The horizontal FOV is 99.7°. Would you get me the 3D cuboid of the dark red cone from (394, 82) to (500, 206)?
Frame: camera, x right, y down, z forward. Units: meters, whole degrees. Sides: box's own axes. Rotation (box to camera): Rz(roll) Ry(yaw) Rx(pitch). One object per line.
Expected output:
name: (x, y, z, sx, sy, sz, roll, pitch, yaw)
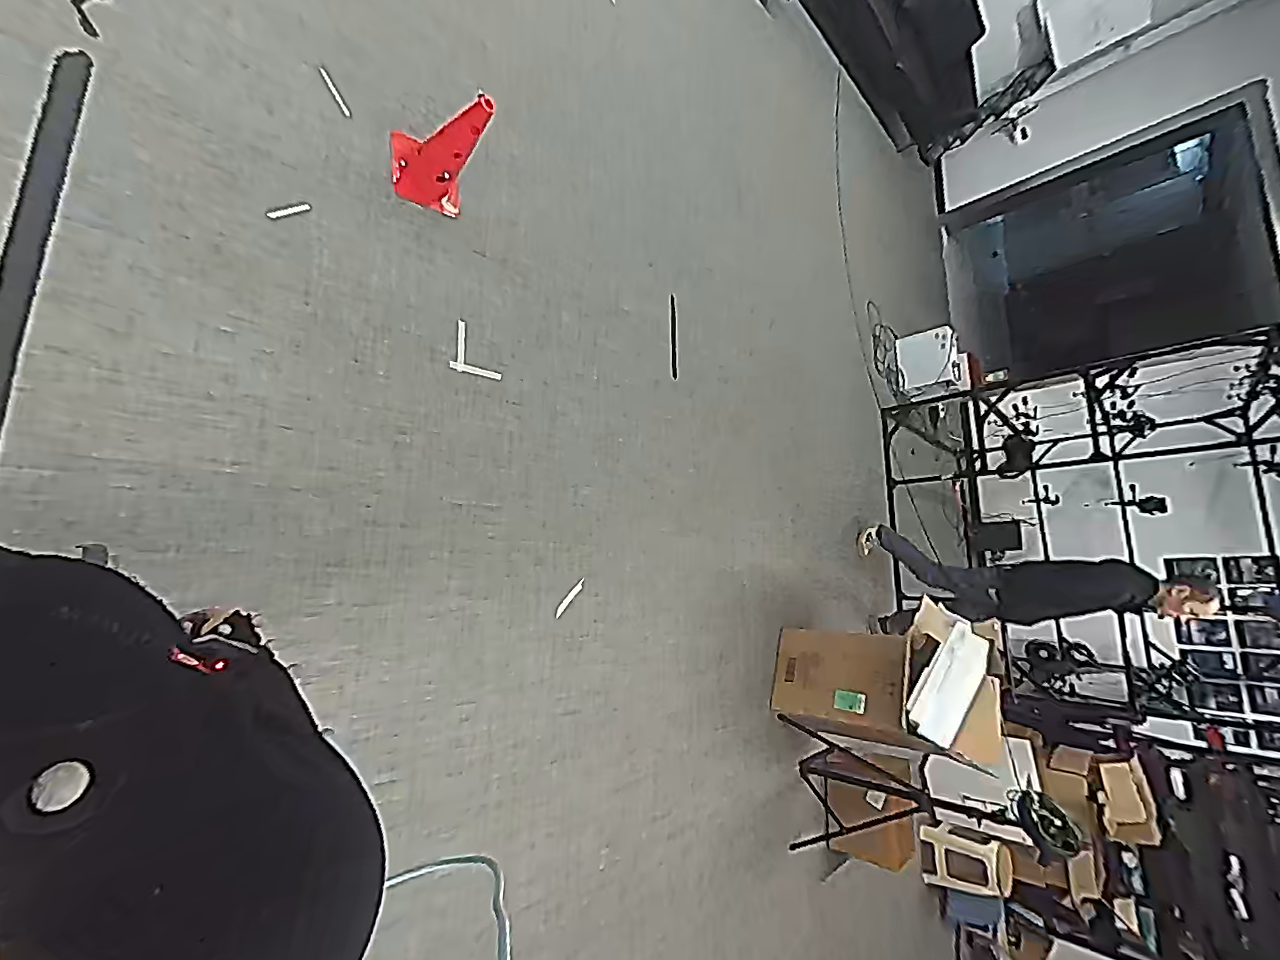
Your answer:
dark red cone: (-0.492, -0.930, 1.450, 0.201, 0.394, 0.202, 0, 83, -45)
